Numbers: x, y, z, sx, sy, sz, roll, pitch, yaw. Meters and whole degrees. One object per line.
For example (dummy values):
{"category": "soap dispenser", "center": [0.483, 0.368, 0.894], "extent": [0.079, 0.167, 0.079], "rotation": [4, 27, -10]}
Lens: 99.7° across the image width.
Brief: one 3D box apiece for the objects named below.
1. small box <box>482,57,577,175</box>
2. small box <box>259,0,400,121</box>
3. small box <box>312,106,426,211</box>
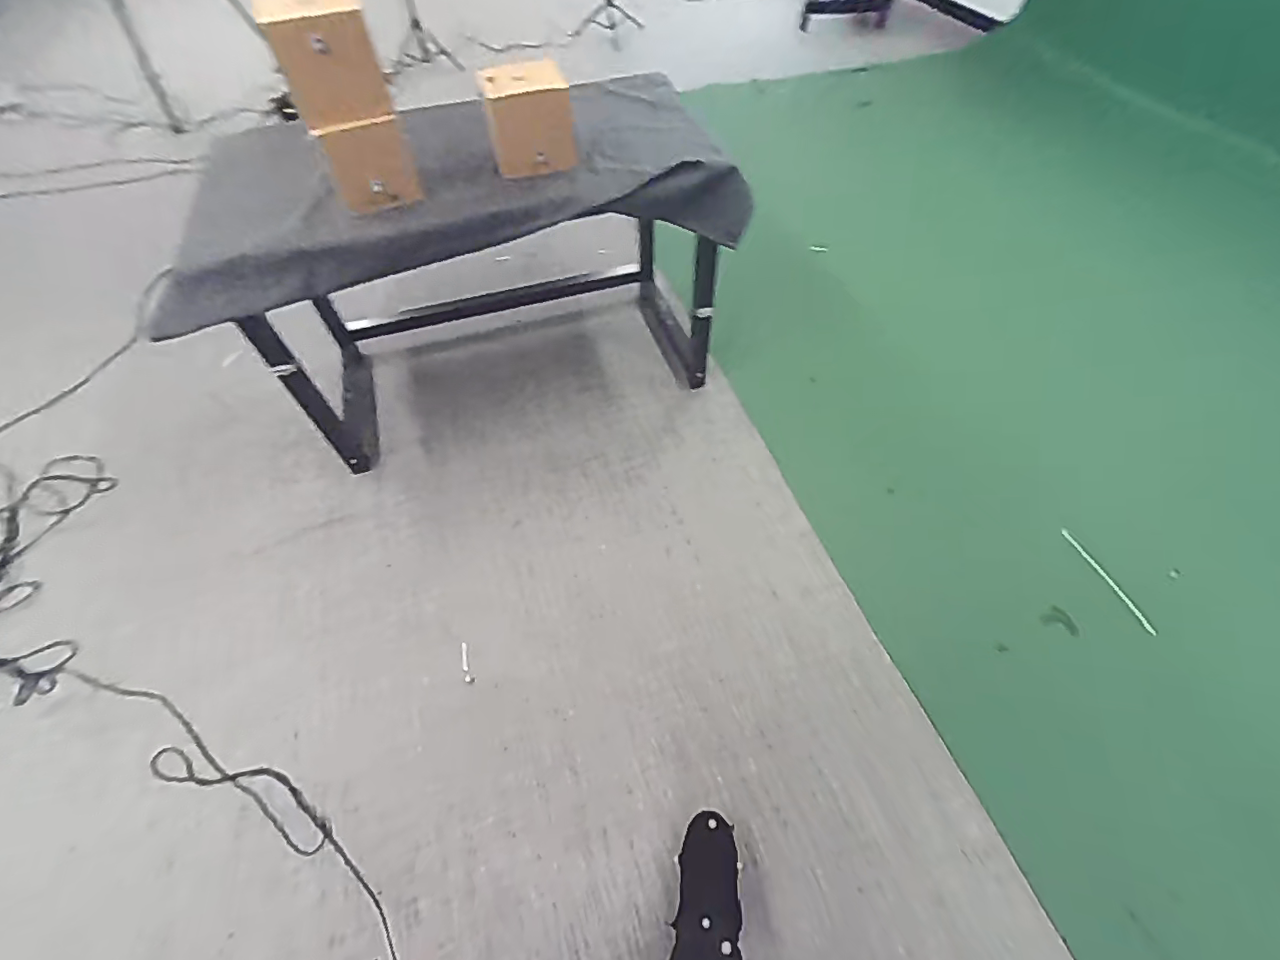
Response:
{"category": "small box", "center": [-0.246, -0.826, 1.229], "extent": [0.179, 0.176, 0.168], "rotation": [-14, 56, -9]}
{"category": "small box", "center": [-0.586, -0.813, 1.030], "extent": [0.179, 0.176, 0.168], "rotation": [-20, 58, -13]}
{"category": "small box", "center": [-0.581, -0.708, 1.154], "extent": [0.168, 0.176, 0.179], "rotation": [-24, 59, -15]}
